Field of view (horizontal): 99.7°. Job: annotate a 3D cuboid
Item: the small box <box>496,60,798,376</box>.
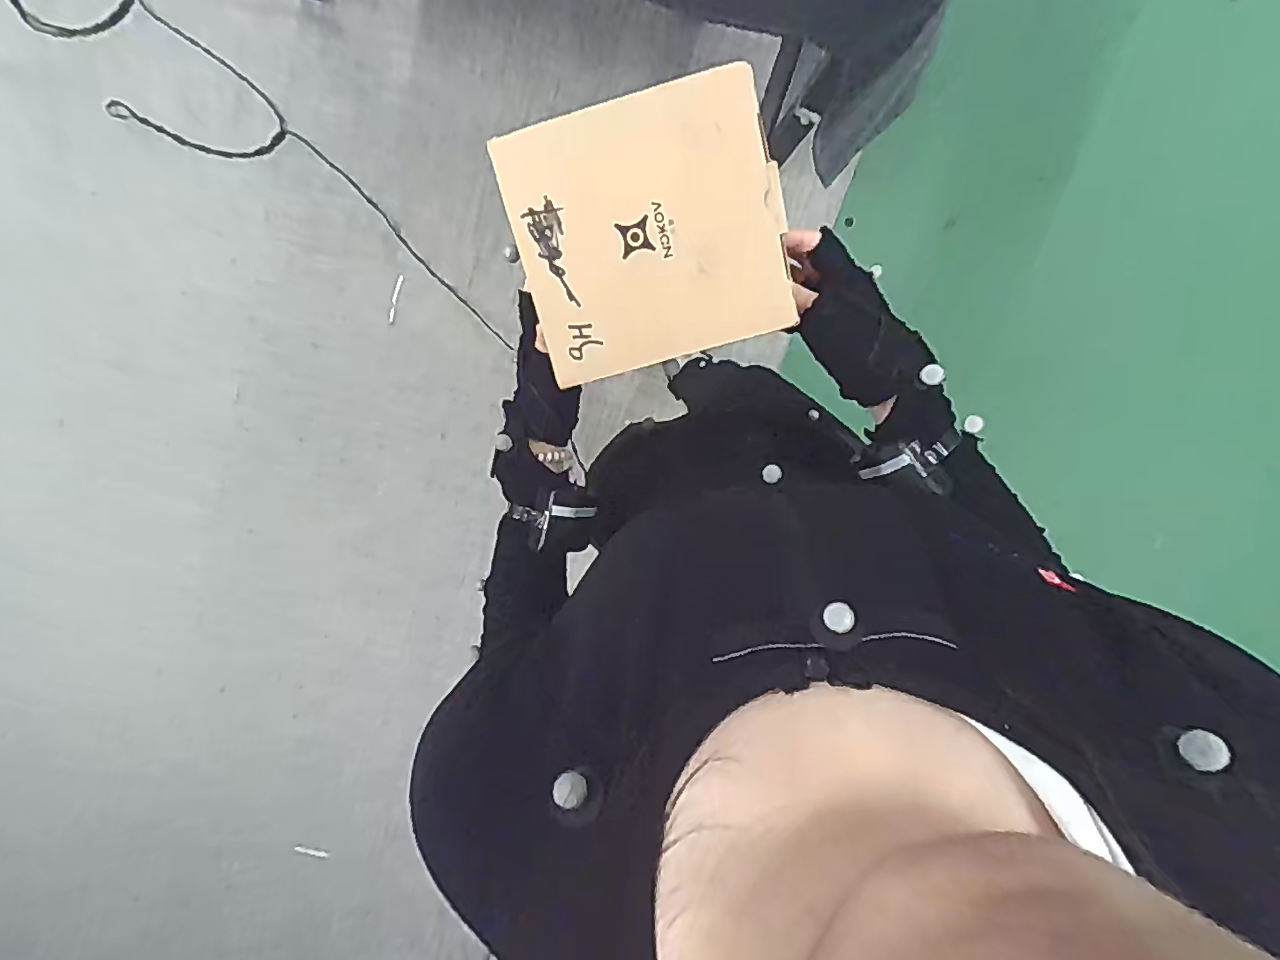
[{"bbox_3d":[0.007,-0.188,0.439,0.179,0.176,0.168,-14,102,3],"label":"small box"}]
